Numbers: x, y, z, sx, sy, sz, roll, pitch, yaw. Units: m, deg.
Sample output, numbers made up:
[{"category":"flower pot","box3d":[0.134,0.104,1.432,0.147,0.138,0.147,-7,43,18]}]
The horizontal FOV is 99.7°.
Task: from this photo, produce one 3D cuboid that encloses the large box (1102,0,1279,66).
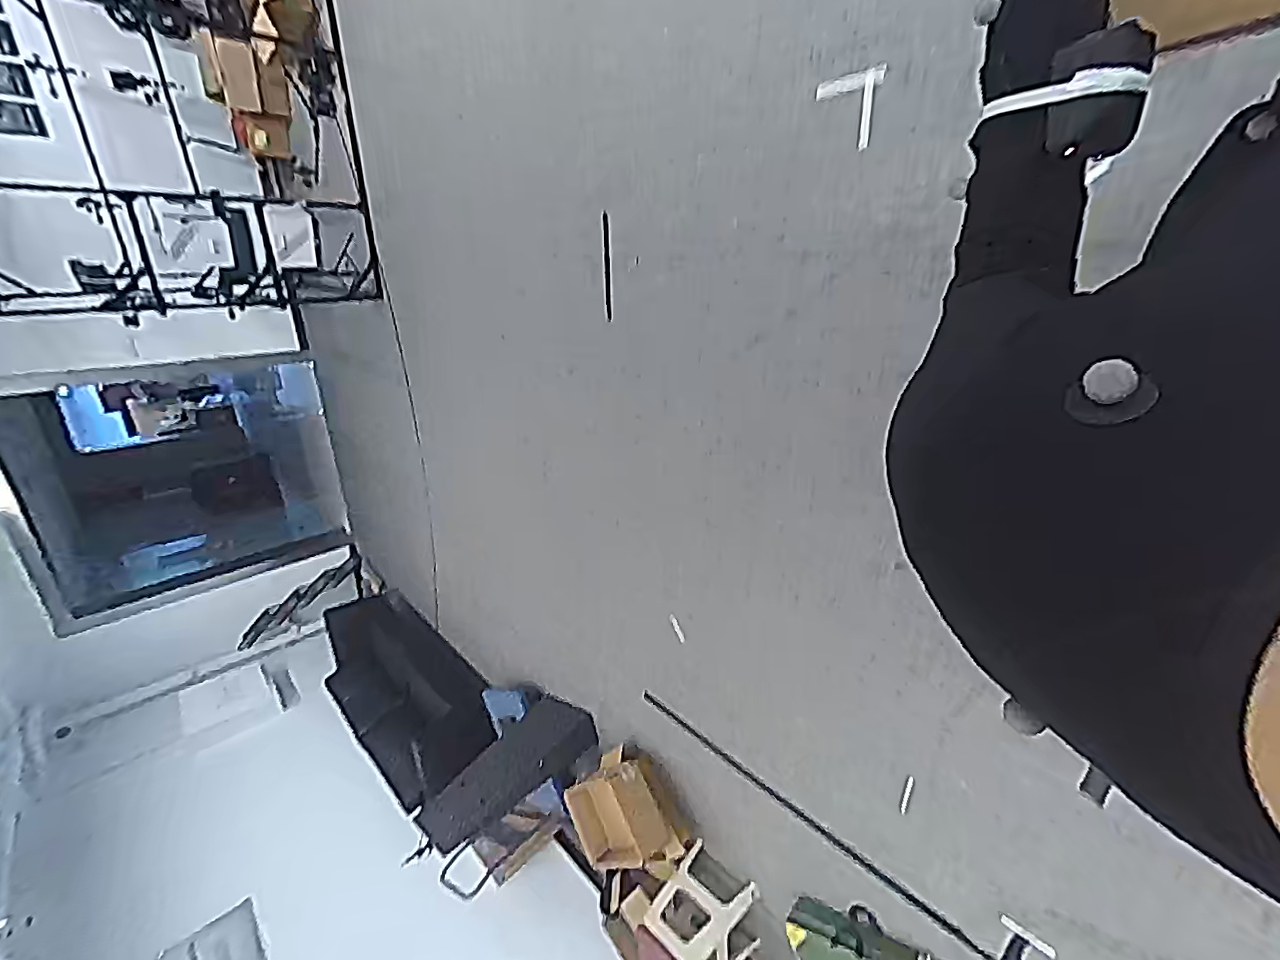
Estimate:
[{"category":"large box","box3d":[0.520,-0.464,0.269,0.408,0.320,0.320,10,126,42]}]
